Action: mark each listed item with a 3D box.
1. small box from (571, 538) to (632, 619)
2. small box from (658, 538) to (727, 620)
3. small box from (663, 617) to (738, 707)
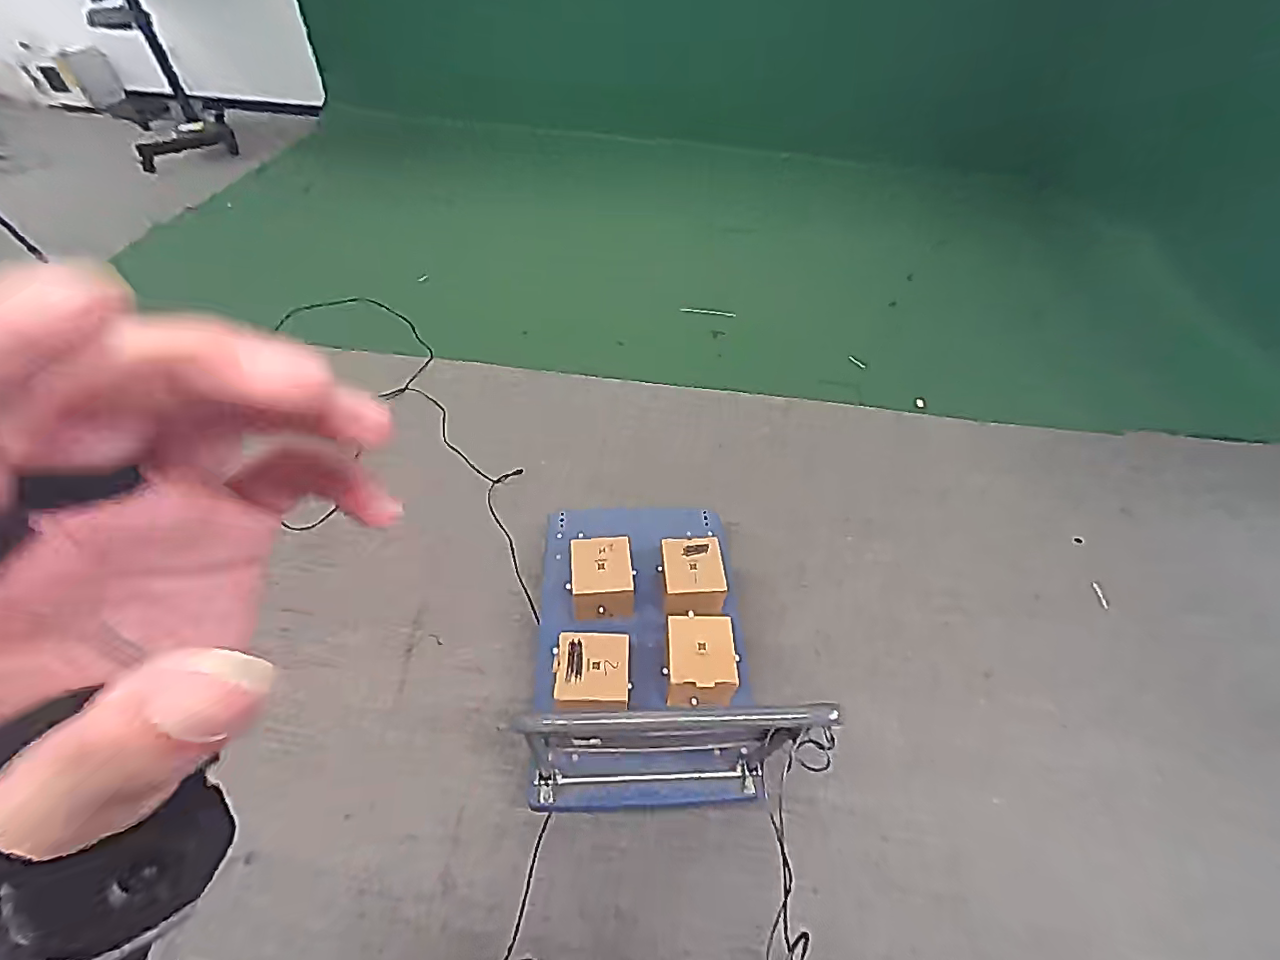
[{"bbox_3d":[-0.112,0.286,1.545,0.168,0.176,0.179,-2,50,-6],"label":"small box"},{"bbox_3d":[0.144,0.287,1.559,0.168,0.176,0.179,-2,51,-4],"label":"small box"},{"bbox_3d":[0.149,0.473,1.404,0.168,0.176,0.179,1,50,-3],"label":"small box"}]
